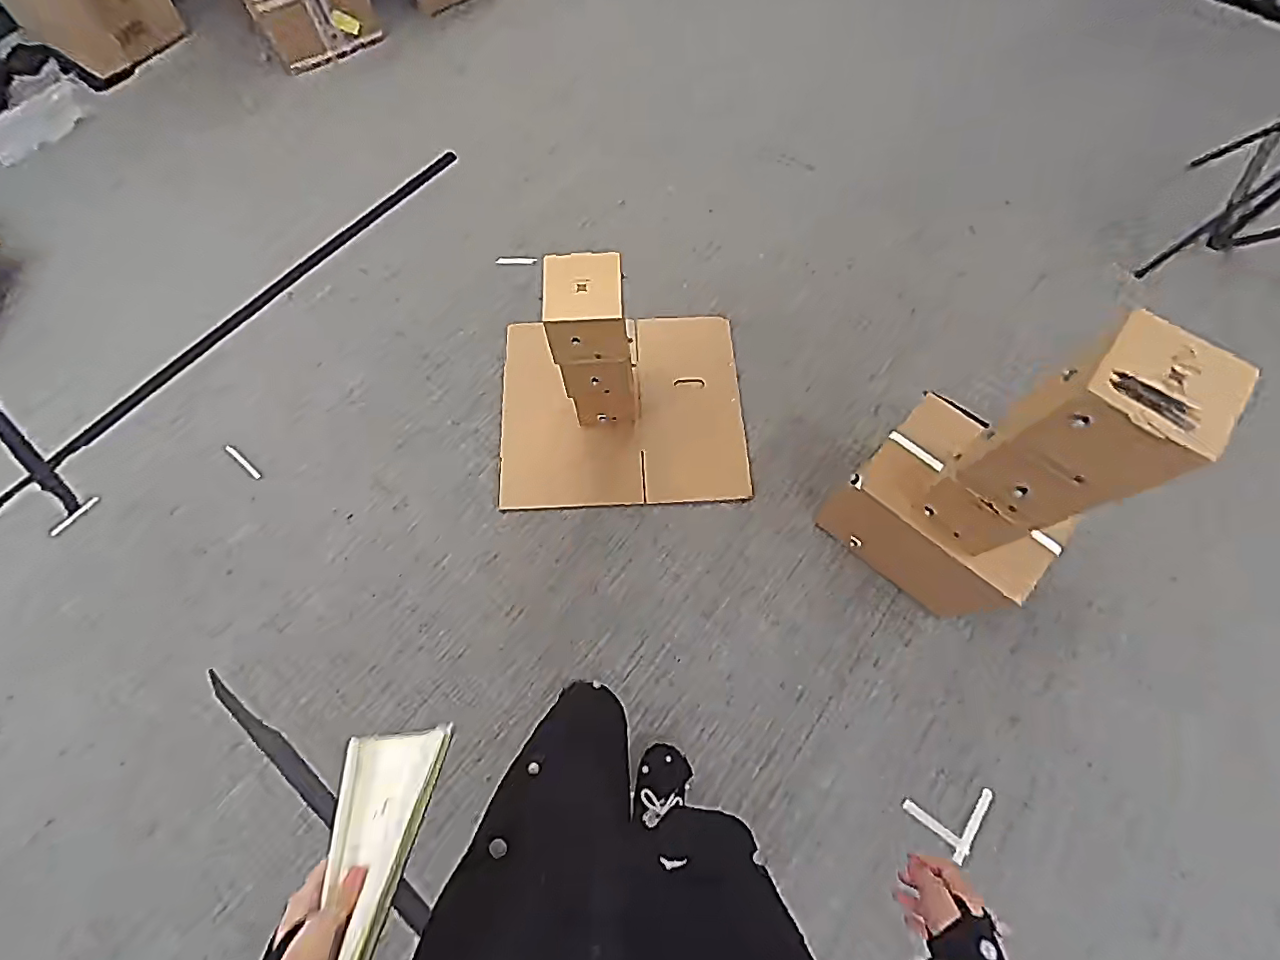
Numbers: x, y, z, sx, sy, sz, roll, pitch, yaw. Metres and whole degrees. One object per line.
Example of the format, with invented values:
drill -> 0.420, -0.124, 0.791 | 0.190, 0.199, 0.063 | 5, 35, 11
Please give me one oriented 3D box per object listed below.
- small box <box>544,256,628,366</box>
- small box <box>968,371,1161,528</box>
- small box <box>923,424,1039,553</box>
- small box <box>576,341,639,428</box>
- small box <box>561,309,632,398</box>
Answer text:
small box -> -0.115, -0.367, 1.203 | 0.168, 0.176, 0.179 | -3, 69, 0
small box -> 0.705, -0.043, 0.924 | 0.168, 0.176, 0.179 | 40, 76, 14
small box -> 0.701, 0.022, 1.075 | 0.168, 0.176, 0.179 | 43, 75, 15
small box -> -0.093, -0.264, 1.514 | 0.168, 0.176, 0.179 | -7, 70, -2
small box -> -0.107, -0.318, 1.358 | 0.168, 0.176, 0.179 | -5, 69, -2
